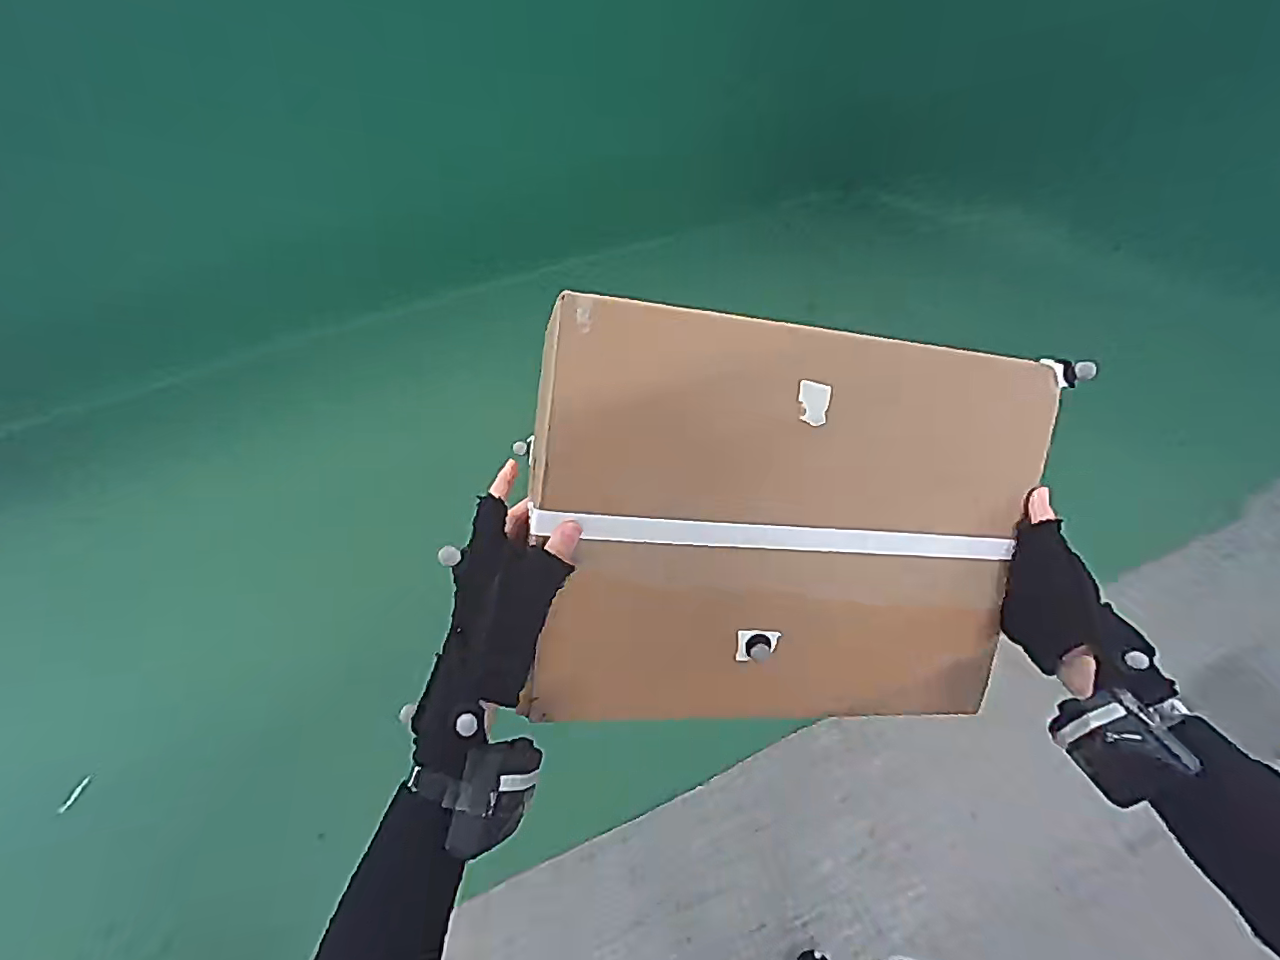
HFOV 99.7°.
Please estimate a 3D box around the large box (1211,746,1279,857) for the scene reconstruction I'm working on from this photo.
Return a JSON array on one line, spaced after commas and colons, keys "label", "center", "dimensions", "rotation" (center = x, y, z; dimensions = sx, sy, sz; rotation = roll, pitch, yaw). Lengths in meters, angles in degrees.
[{"label": "large box", "center": [1.490, 0.677, 1.022], "dimensions": [0.320, 0.320, 0.408], "rotation": [-20, 45, -10]}]
